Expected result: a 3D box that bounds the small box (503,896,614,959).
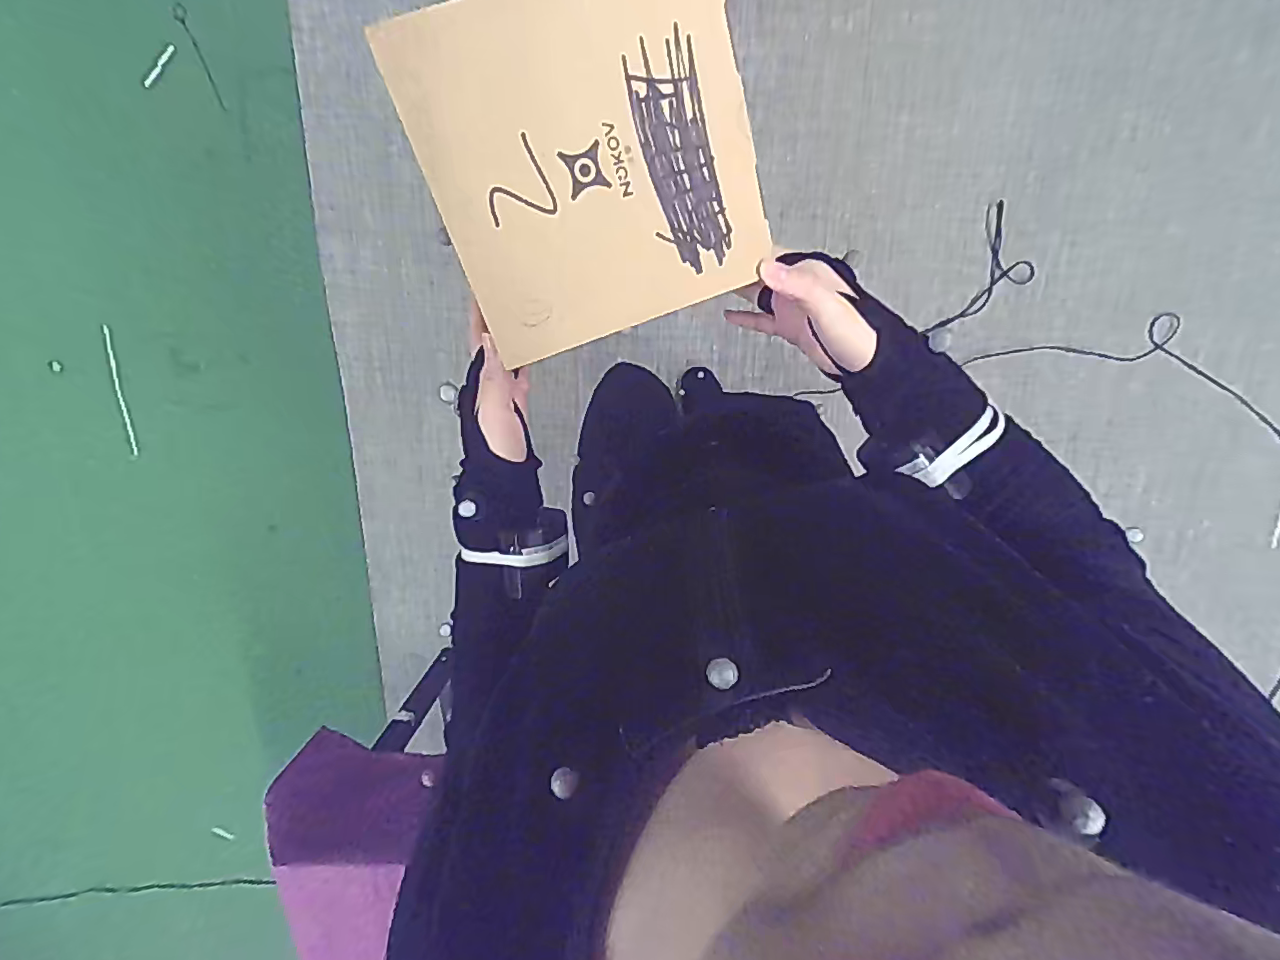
[{"bbox_3d":[-0.135,0.834,0.896,0.179,0.176,0.168,0,105,3],"label":"small box"}]
